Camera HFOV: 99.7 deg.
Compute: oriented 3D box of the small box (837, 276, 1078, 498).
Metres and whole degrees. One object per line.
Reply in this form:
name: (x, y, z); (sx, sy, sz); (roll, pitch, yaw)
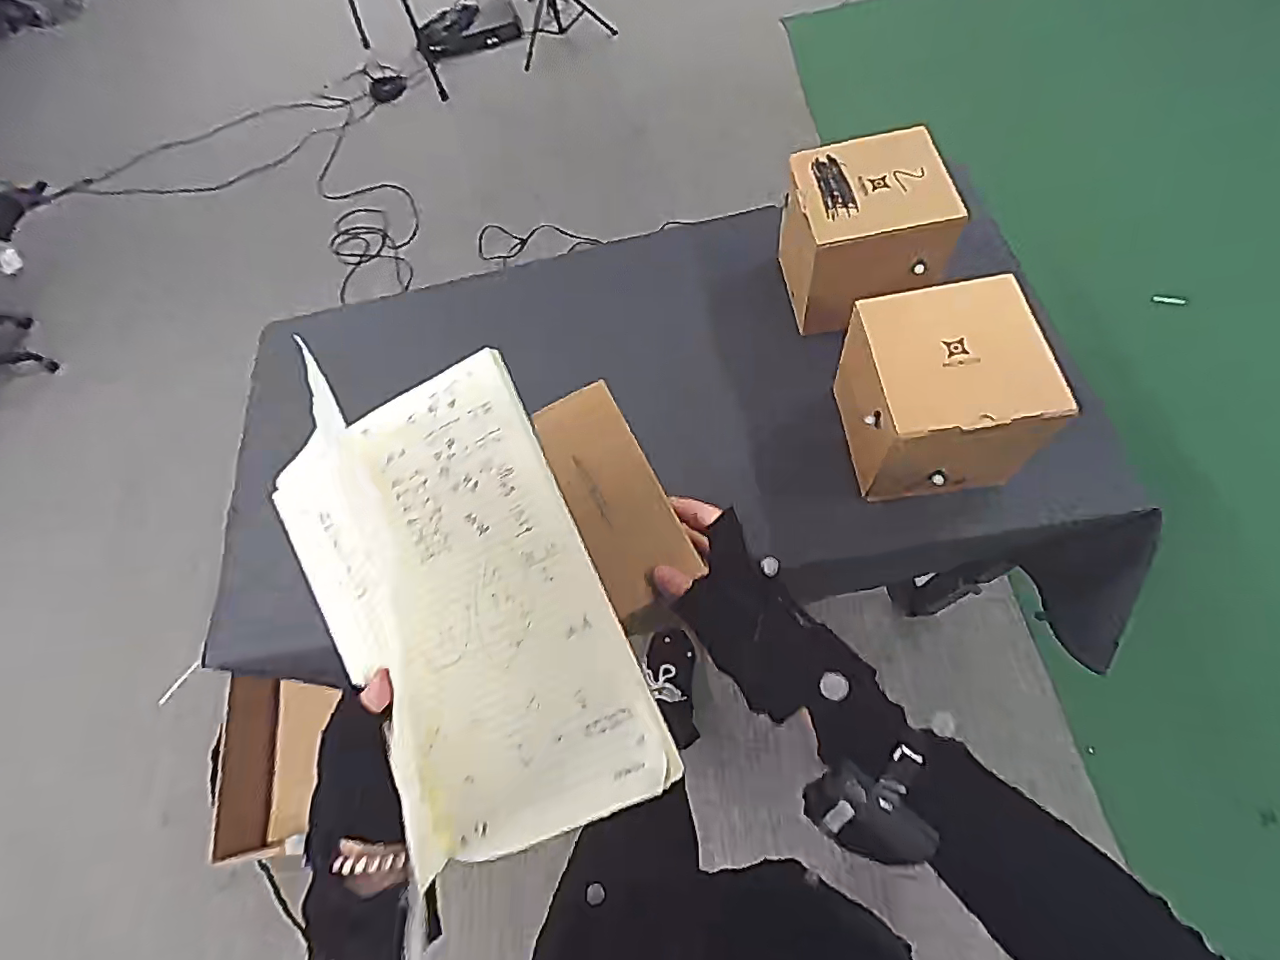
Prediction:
small box: (0.337, -0.098, 0.622); (0.168, 0.176, 0.179); (-8, 65, 7)
